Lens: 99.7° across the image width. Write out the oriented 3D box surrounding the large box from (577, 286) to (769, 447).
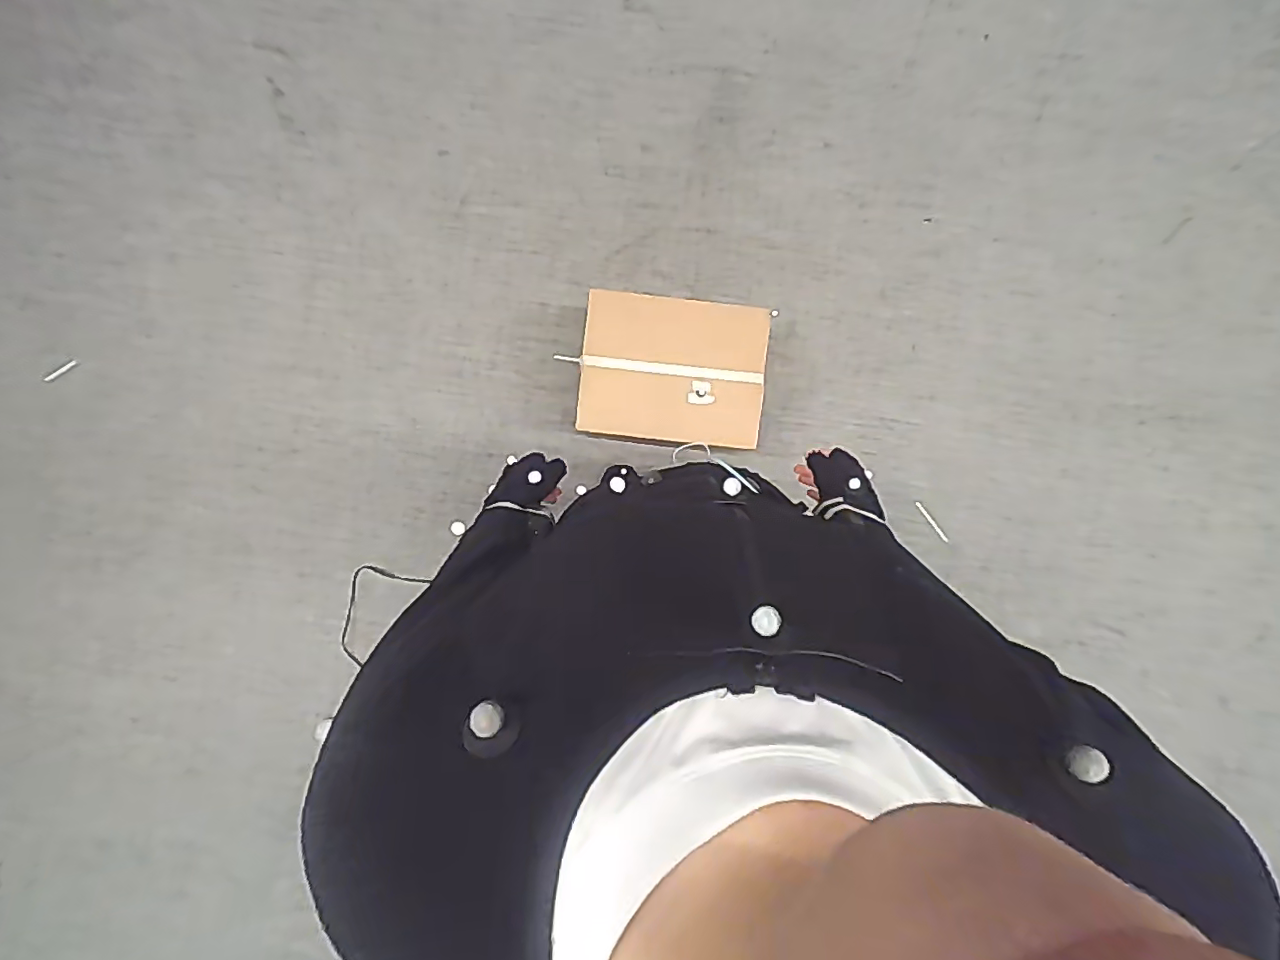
[{"bbox_3d":[0.068,-0.256,1.331,0.408,0.320,0.320,6,92,-1],"label":"large box"}]
